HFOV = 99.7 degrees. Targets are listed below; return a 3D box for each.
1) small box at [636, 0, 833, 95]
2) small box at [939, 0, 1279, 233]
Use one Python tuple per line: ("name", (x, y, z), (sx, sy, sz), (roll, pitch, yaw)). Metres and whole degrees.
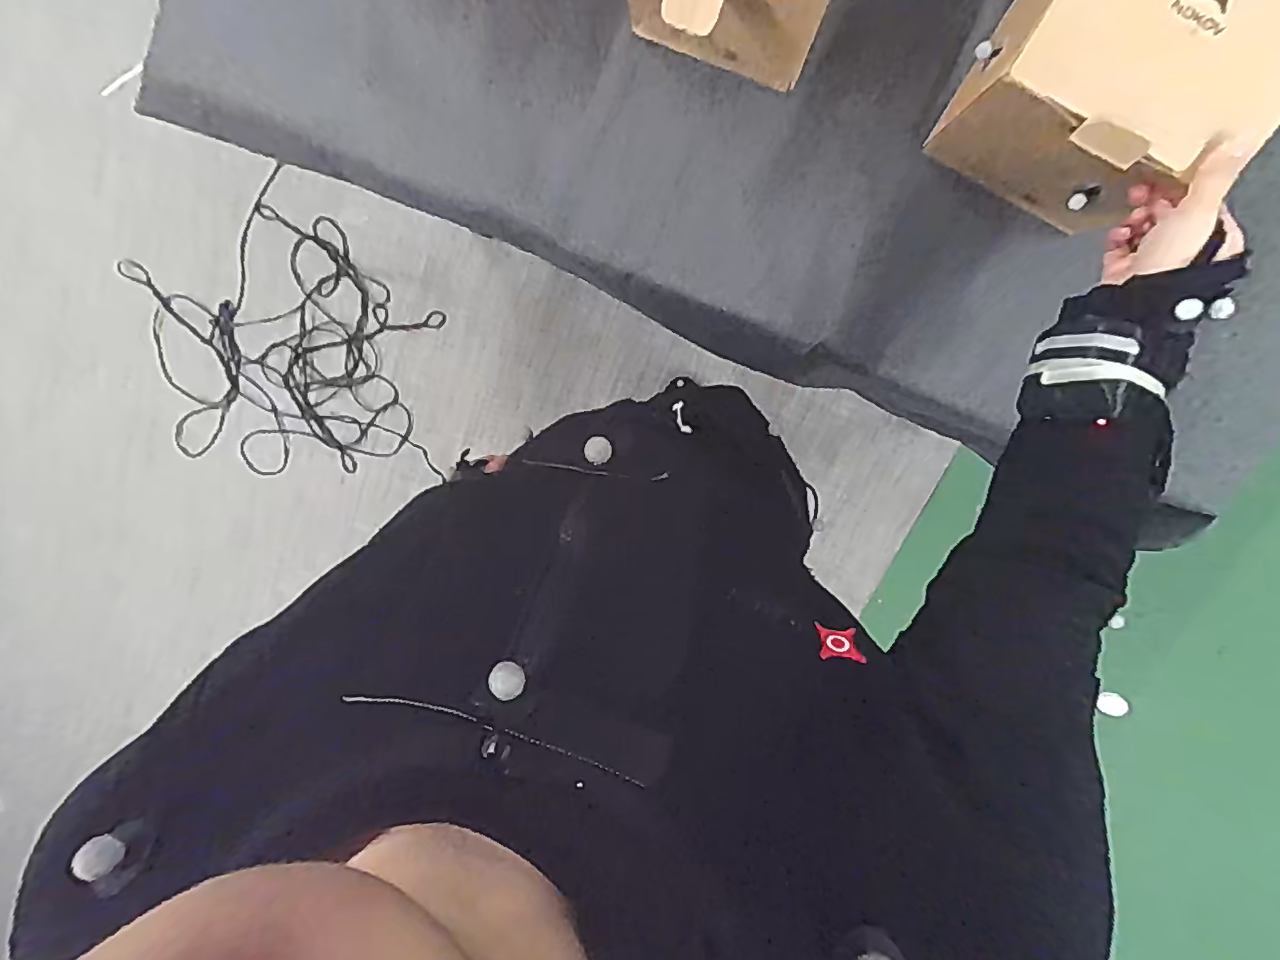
("small box", (0.092, -0.459, 0.425), (0.168, 0.176, 0.179), (23, 104, 2))
("small box", (0.363, -0.314, 0.410), (0.168, 0.176, 0.179), (29, 107, -1))
